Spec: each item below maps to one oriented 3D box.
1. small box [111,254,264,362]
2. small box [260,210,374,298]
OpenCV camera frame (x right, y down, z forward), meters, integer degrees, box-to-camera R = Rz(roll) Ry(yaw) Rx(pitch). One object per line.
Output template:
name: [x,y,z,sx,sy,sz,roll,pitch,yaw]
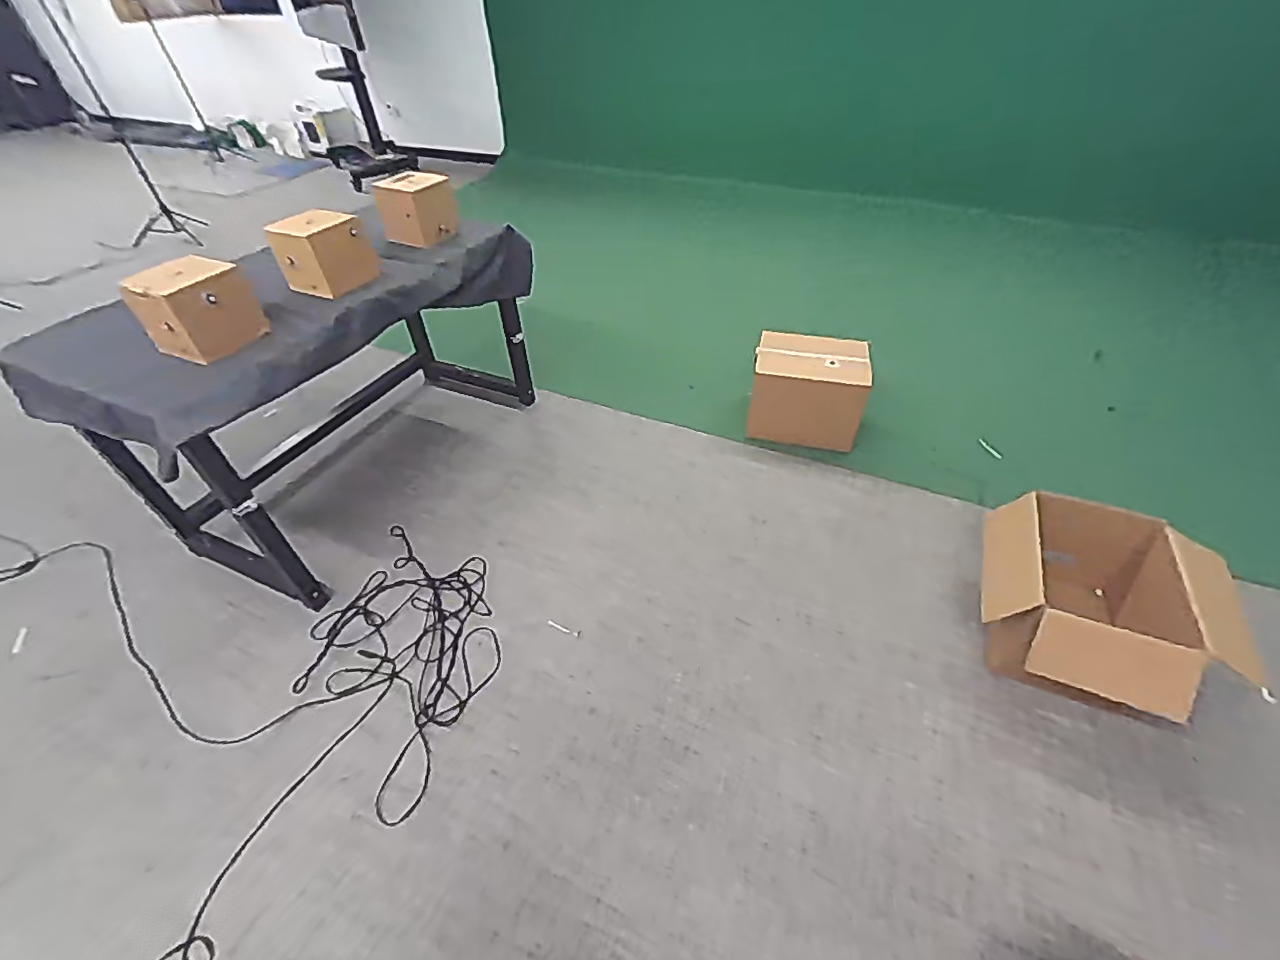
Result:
small box: [-1.014,-0.390,1.230,0.168,0.176,0.179,17,45,17]
small box: [-0.864,-0.613,1.466,0.168,0.176,0.179,17,46,19]
